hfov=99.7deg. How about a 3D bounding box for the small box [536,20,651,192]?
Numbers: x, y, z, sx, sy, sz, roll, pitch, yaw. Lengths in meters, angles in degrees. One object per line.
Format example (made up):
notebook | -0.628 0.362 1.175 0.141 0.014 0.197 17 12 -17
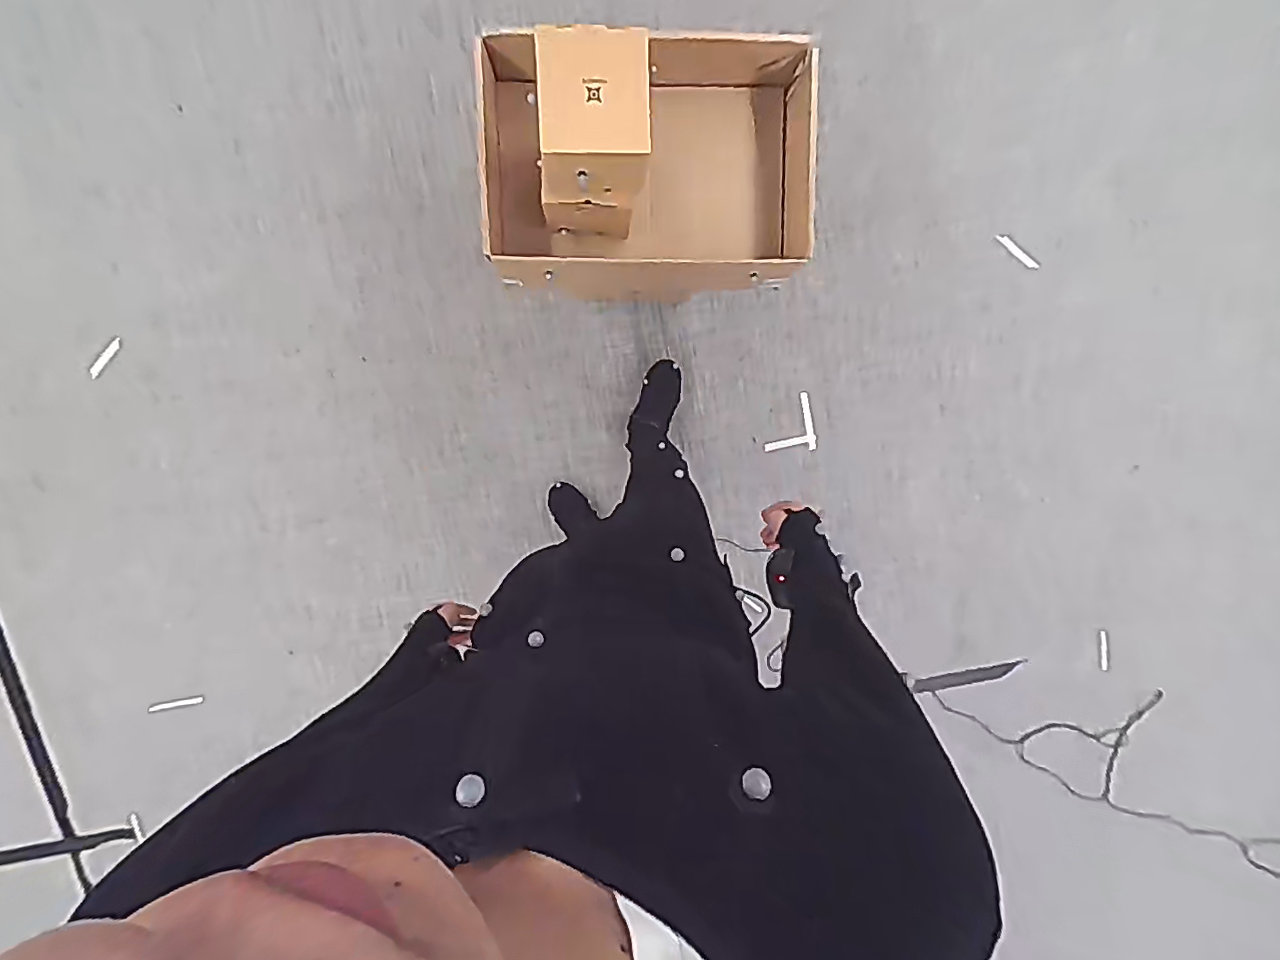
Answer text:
small box | -0.071 -0.582 0.865 0.168 0.176 0.179 -2 96 -4

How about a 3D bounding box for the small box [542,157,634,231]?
small box | -0.092 -0.590 1.027 0.168 0.176 0.179 2 96 -5
